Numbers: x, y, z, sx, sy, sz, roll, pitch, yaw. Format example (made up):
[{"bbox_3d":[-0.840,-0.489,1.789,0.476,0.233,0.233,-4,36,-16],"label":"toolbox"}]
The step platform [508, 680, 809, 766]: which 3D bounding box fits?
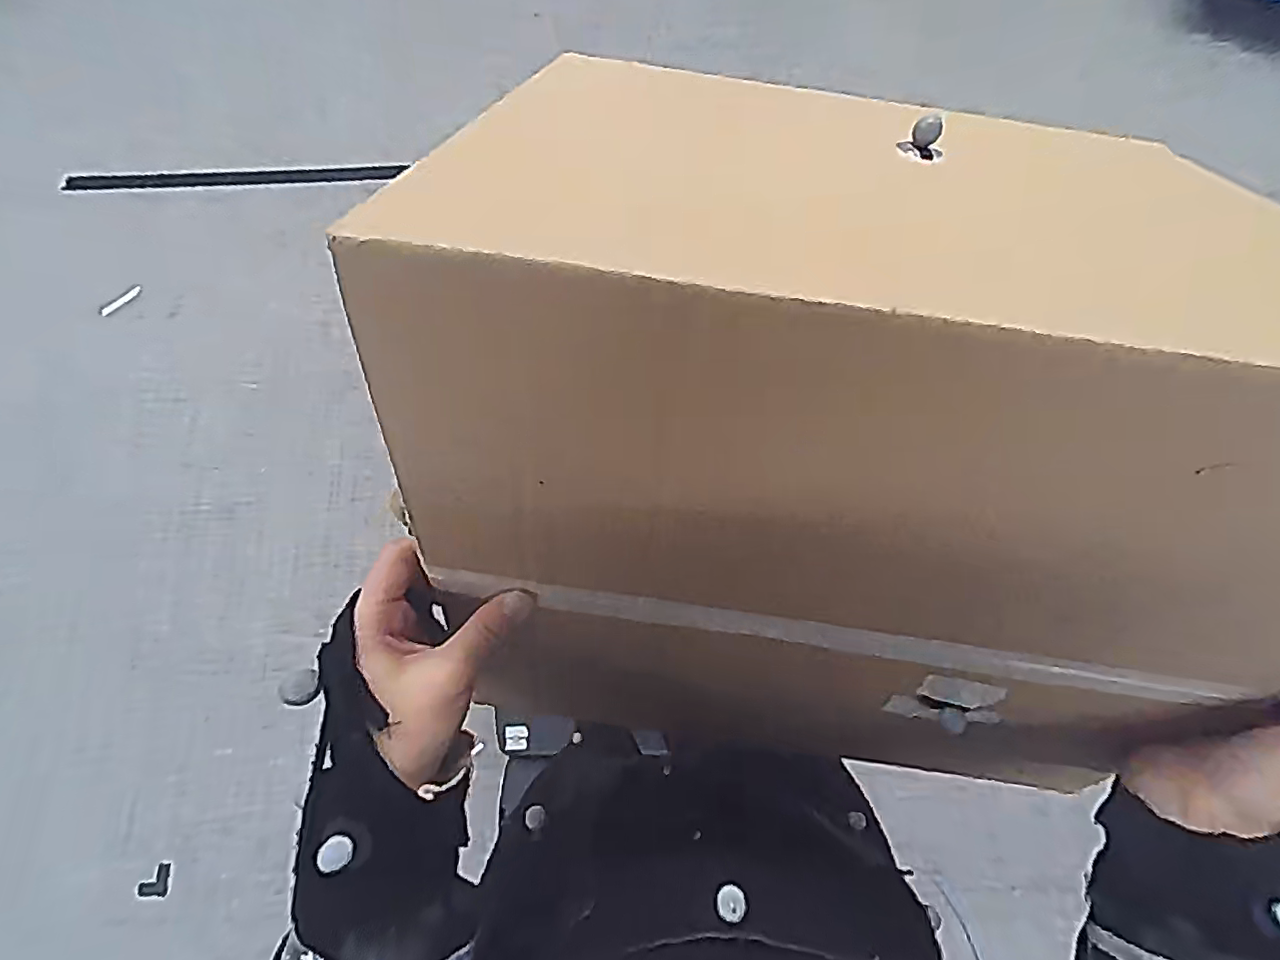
[{"bbox_3d":[0.042,0.471,1.266,0.684,0.204,0.286,5,78,0],"label":"step platform"}]
